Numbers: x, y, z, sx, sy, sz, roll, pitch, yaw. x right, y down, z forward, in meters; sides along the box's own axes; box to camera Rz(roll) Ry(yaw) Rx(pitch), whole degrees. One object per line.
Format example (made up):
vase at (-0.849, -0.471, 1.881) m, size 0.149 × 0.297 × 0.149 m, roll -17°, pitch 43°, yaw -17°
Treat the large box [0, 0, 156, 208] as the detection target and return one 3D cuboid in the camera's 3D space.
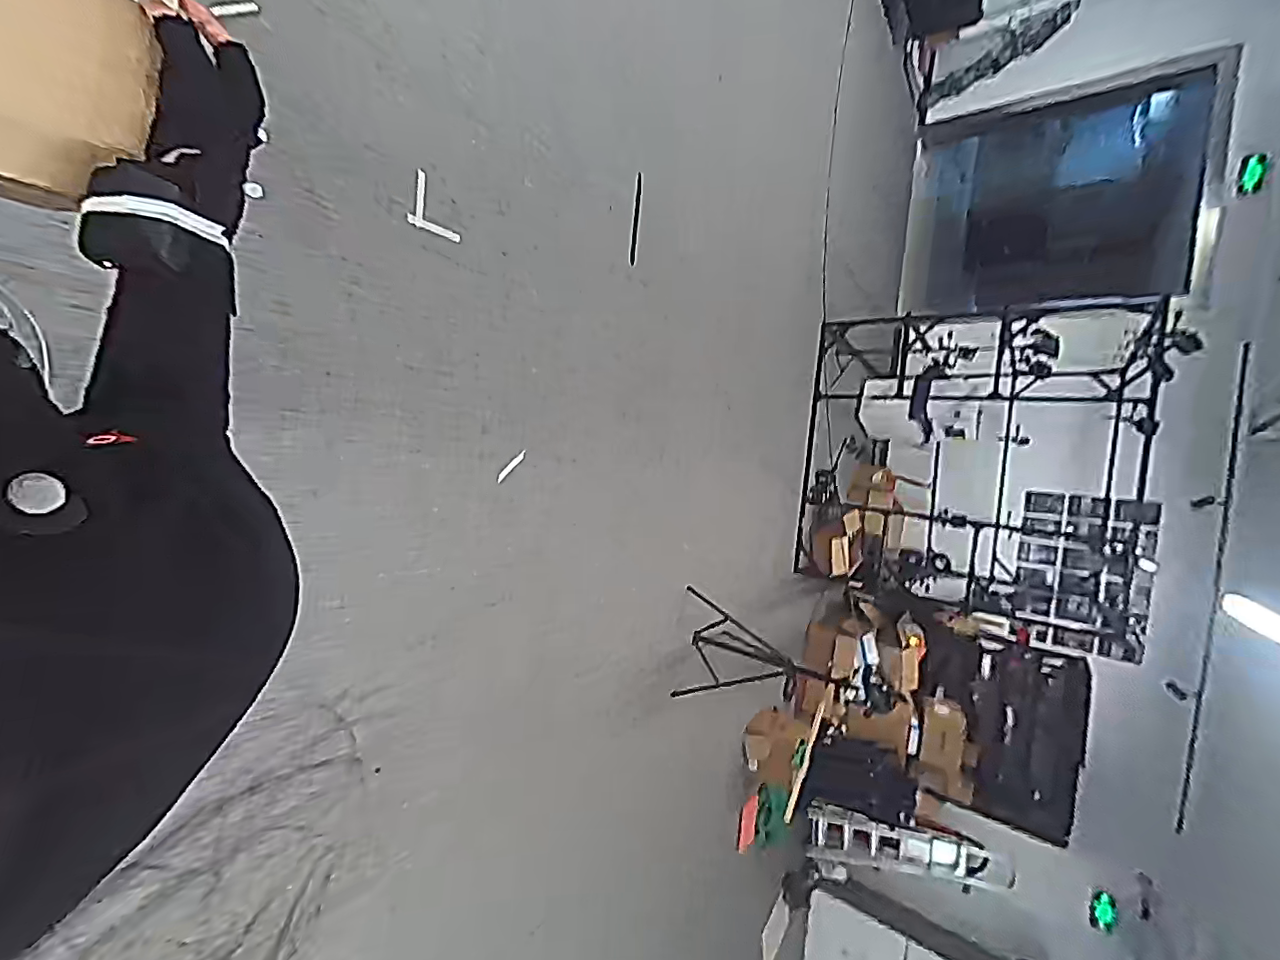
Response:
large box at (-0.600, -0.401, 0.322) m, size 0.408 × 0.320 × 0.320 m, roll -2°, pitch 109°, yaw -58°
